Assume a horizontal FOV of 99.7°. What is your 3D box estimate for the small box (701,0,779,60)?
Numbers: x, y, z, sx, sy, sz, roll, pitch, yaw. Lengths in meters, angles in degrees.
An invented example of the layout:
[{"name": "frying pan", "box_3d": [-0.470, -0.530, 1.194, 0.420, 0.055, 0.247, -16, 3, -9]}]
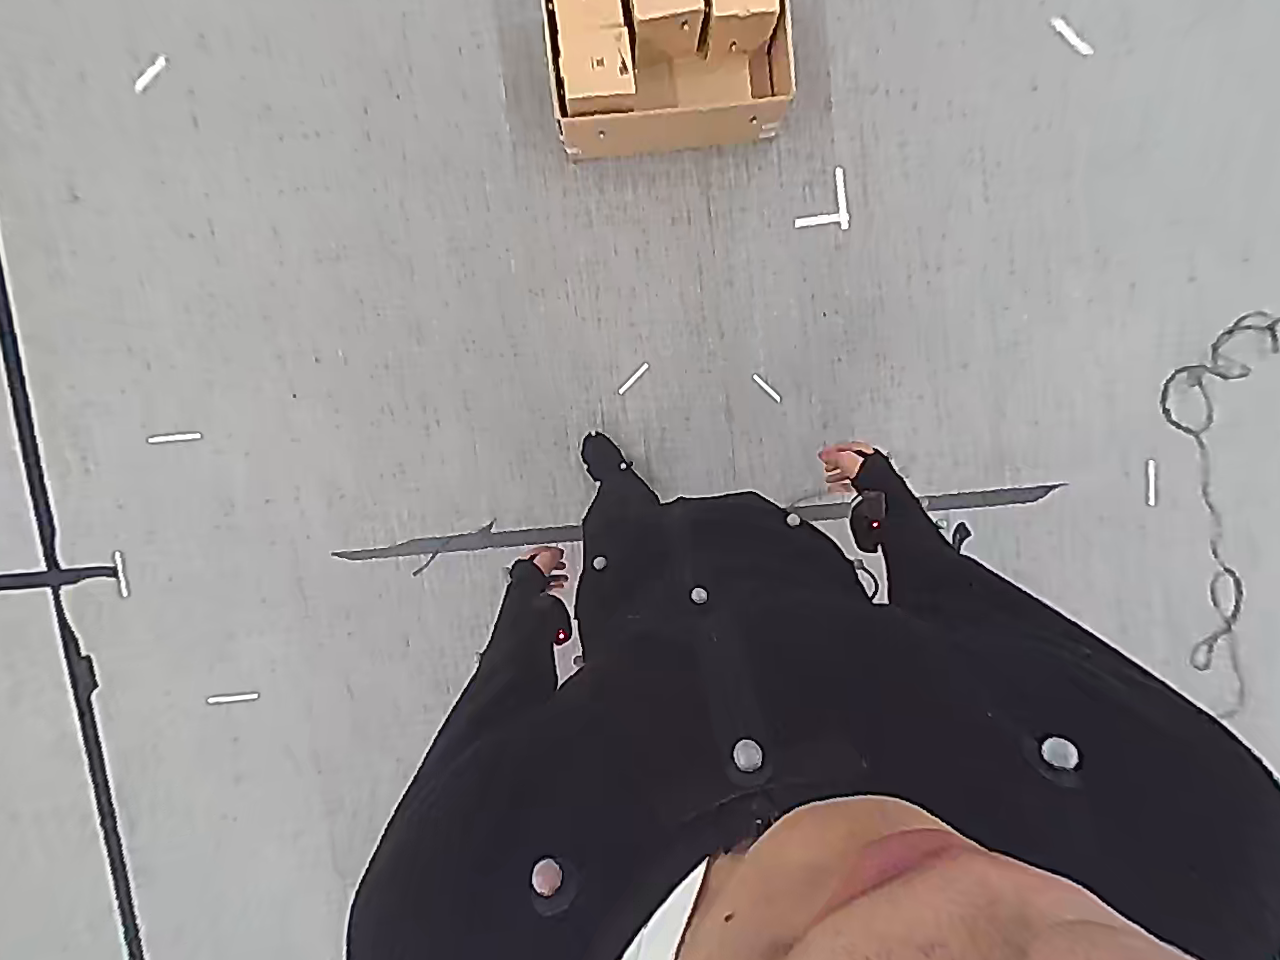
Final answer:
[{"name": "small box", "box_3d": [0.252, -1.240, 1.400, 0.168, 0.176, 0.179, -6, 97, 1]}]
